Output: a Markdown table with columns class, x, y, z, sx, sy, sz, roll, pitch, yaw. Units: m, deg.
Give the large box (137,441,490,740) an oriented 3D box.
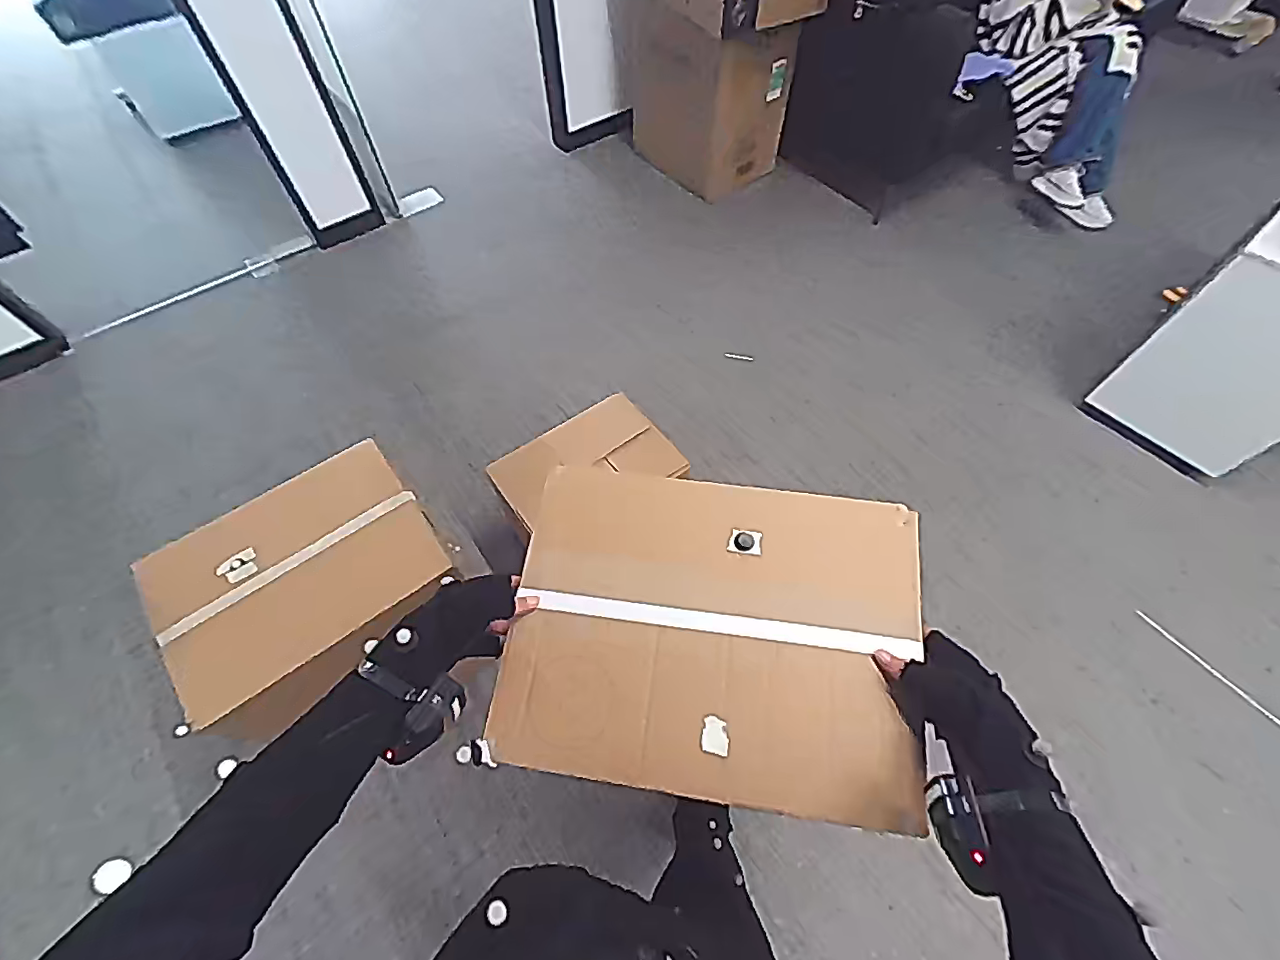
| class | x | y | z | sx | sy | sz | roll | pitch | yaw |
| --- | --- | --- | --- | --- | --- | --- | --- | --- | --- |
| large box | -0.551 | 0.209 | 0.991 | 0.408 | 0.320 | 0.320 | -34 | 66 | -18 |
